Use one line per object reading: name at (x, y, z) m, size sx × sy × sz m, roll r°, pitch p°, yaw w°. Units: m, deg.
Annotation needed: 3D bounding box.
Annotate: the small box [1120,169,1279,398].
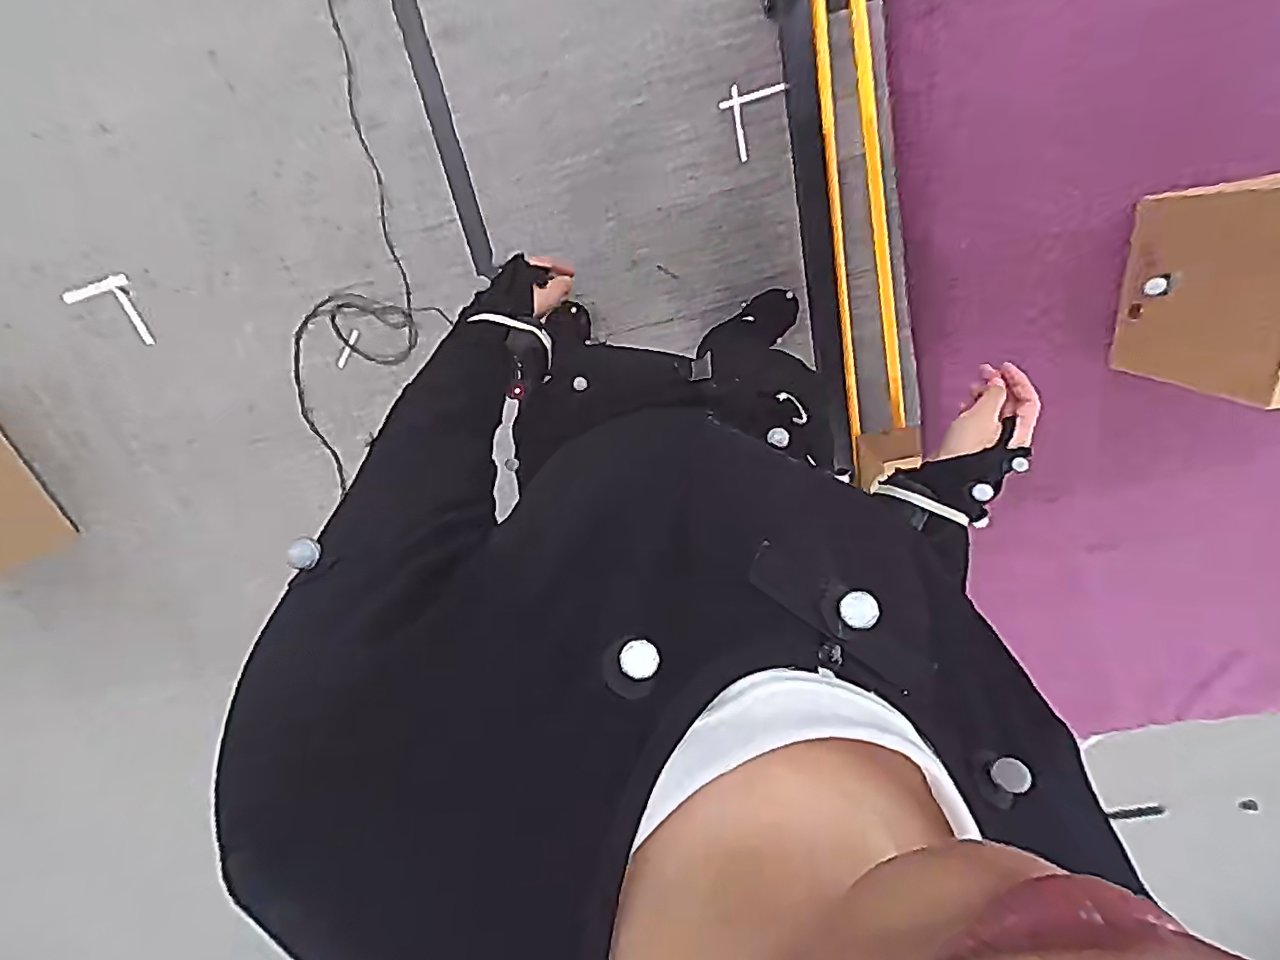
small box at (0.580, -0.179, 0.462) m, size 0.179 × 0.176 × 0.168 m, roll -8°, pitch 113°, yaw 4°
